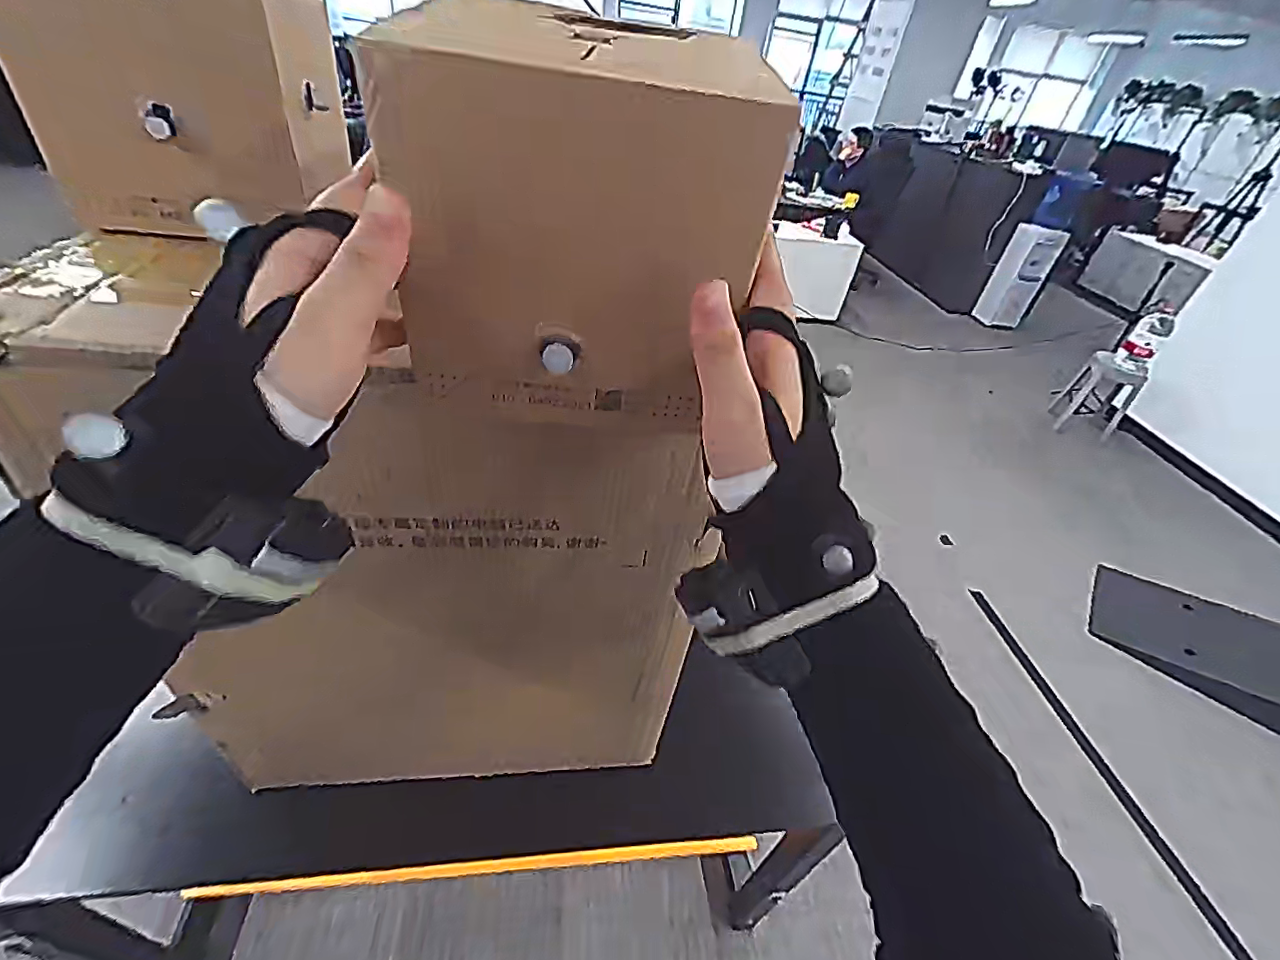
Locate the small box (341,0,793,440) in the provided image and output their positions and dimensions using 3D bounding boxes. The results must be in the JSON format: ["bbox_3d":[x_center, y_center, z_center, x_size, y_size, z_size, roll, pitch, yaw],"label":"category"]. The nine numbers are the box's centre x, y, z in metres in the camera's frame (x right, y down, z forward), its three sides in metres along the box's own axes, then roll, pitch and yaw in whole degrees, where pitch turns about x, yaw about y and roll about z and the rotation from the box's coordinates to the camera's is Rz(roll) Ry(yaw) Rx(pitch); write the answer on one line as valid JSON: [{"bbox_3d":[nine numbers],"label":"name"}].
[{"bbox_3d":[-0.034,-0.146,0.306,0.168,0.176,0.179,4,47,-5],"label":"small box"}]

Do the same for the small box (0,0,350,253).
[{"bbox_3d":[-0.357,-0.301,0.447,0.168,0.176,0.179,-1,39,-14],"label":"small box"}]
